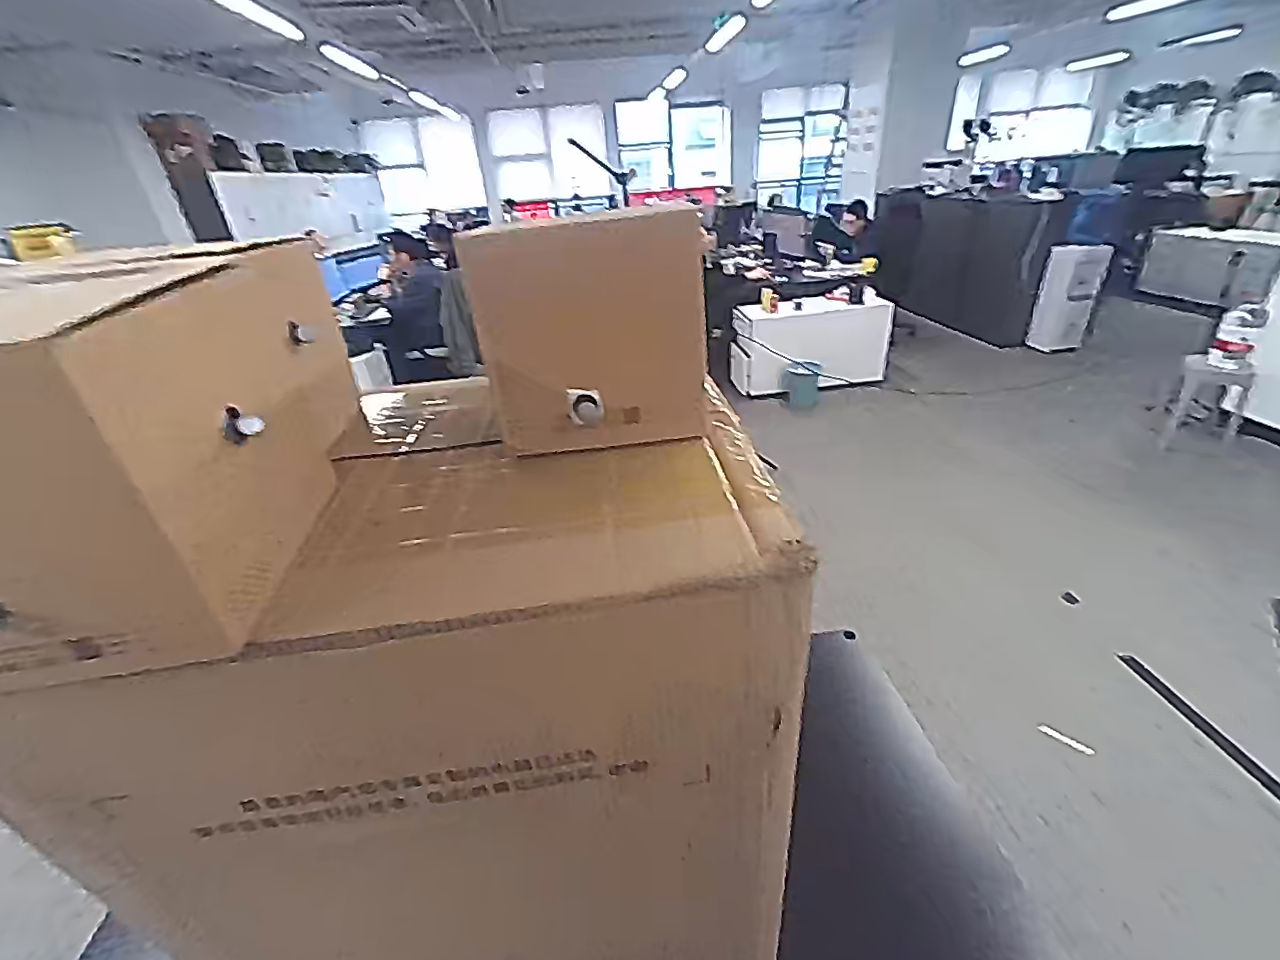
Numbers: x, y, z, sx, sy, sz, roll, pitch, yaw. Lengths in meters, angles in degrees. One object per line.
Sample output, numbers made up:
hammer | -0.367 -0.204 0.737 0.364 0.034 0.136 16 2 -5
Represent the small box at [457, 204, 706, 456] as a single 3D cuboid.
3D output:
small box | -0.039 -0.136 0.471 0.168 0.176 0.179 -8 29 -1
